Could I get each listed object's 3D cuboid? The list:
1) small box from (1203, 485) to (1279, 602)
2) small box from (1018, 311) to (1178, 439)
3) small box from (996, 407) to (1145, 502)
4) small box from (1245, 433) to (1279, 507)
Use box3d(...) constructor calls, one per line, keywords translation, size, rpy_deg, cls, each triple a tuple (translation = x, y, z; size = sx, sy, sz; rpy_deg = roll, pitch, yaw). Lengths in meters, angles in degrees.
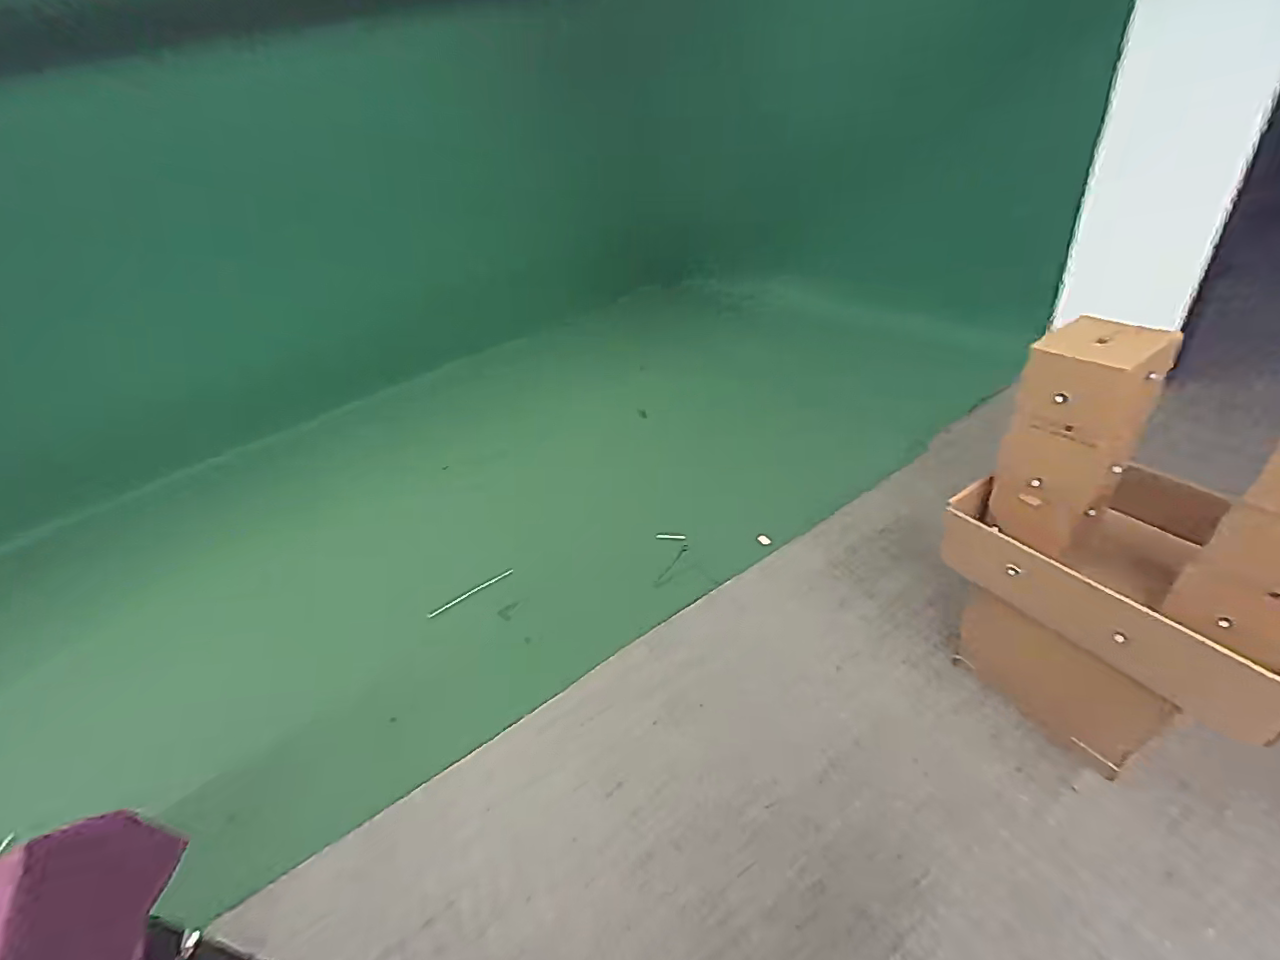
box3d(translation=(1.082, 0.087, 0.875), size=(0.179, 0.176, 0.168), rpy_deg=(-24, 39, -13), cls="small box")
box3d(translation=(0.875, -0.204, 1.052), size=(0.179, 0.176, 0.168), rpy_deg=(-28, 39, -17), cls="small box")
box3d(translation=(0.904, -0.076, 1.152), size=(0.168, 0.176, 0.179), rpy_deg=(-29, 39, -19), cls="small box")
box3d(translation=(1.049, -0.036, 0.775), size=(0.168, 0.176, 0.179), rpy_deg=(-28, 41, -17), cls="small box")
